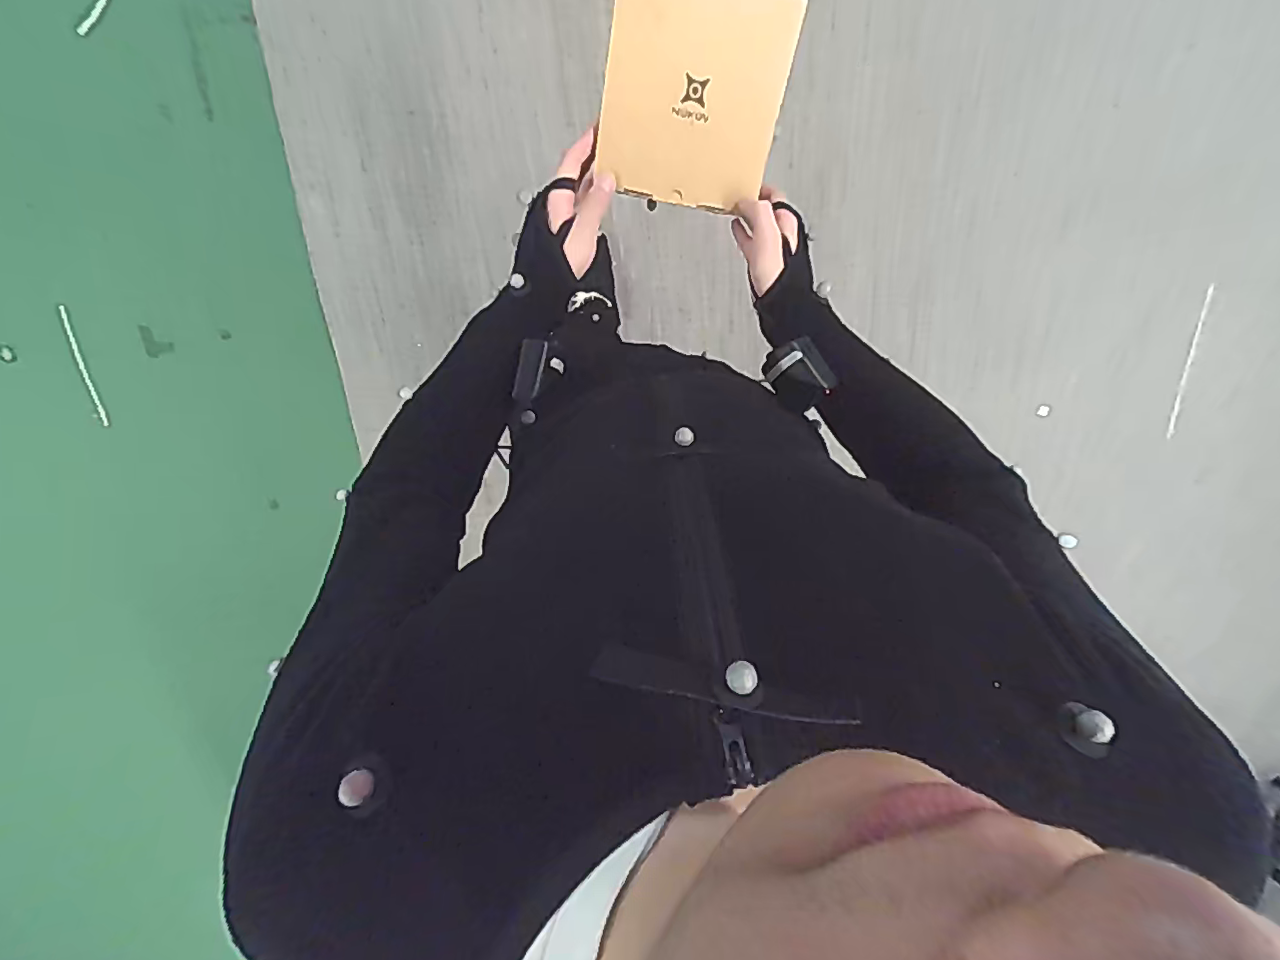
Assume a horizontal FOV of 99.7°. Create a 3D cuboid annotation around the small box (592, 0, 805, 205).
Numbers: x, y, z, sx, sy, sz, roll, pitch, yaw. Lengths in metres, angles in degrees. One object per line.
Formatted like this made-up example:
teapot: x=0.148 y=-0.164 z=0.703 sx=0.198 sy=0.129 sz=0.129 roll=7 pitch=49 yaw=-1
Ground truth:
small box: x=0.042 y=-0.396 z=0.553 sx=0.168 sy=0.176 sz=0.179 roll=7 pitch=119 yaw=-8
